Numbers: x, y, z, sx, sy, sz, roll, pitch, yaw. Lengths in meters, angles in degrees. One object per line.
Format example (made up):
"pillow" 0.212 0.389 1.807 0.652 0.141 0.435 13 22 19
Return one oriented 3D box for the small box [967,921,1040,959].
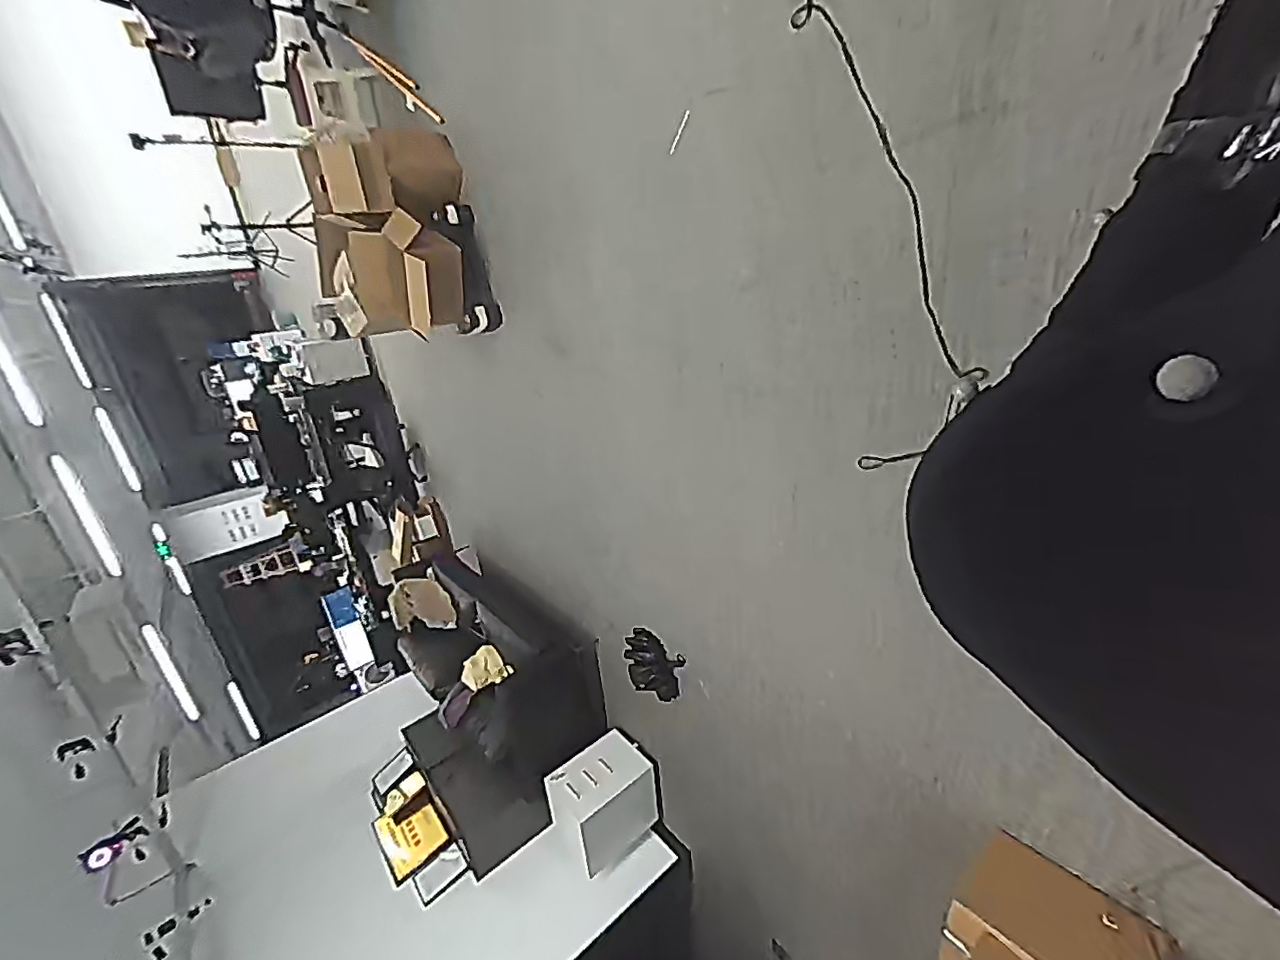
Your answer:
"small box" 0.944 1.309 1.394 0.179 0.176 0.168 27 127 45
